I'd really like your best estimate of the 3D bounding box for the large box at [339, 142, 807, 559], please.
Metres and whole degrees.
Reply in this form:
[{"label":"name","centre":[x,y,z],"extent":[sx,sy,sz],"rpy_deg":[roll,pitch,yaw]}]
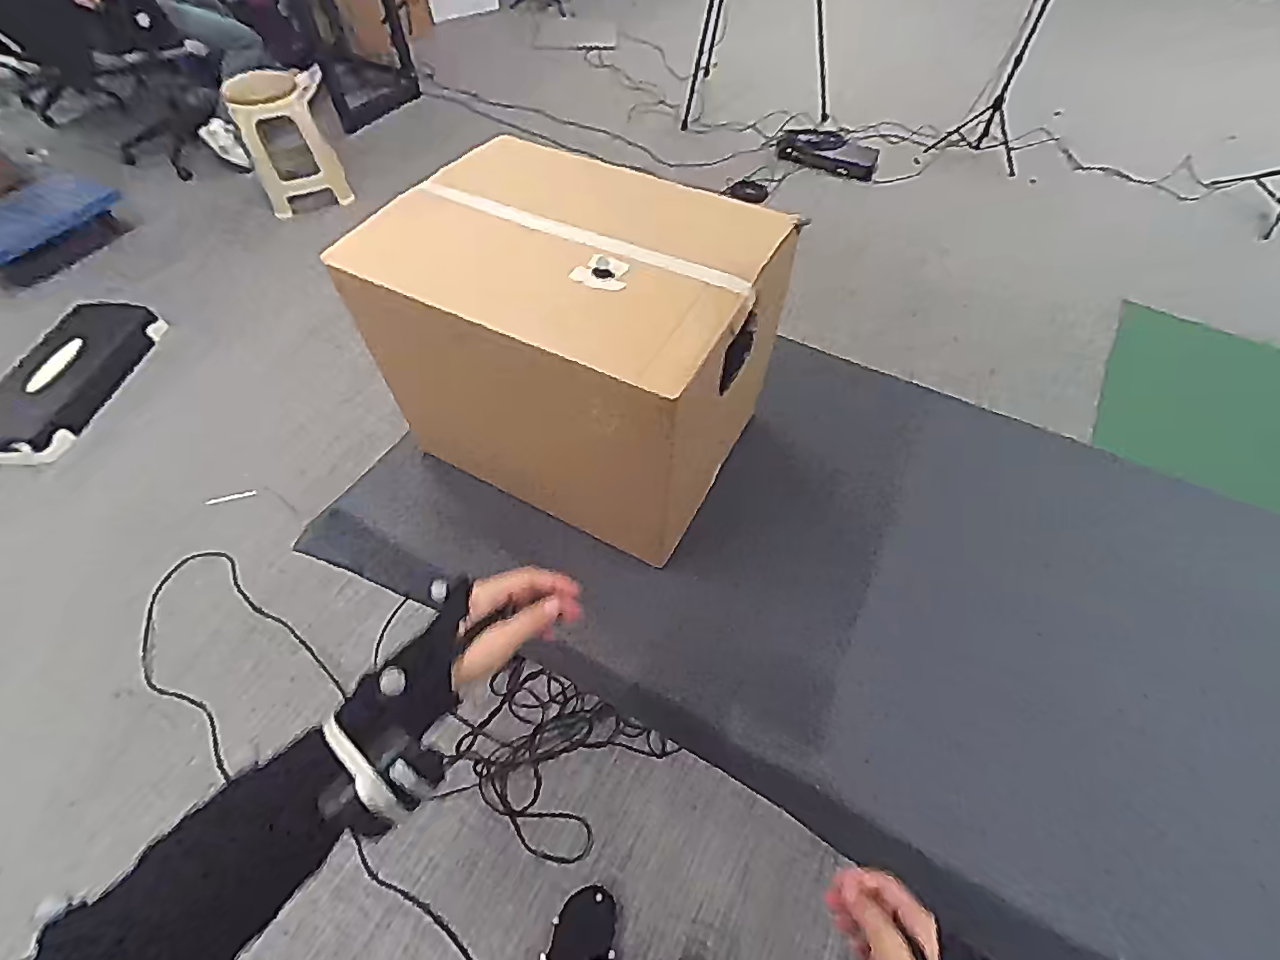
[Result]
[{"label":"large box","centre":[-0.065,-0.164,0.691],"extent":[0.408,0.320,0.320],"rpy_deg":[25,59,14]}]
